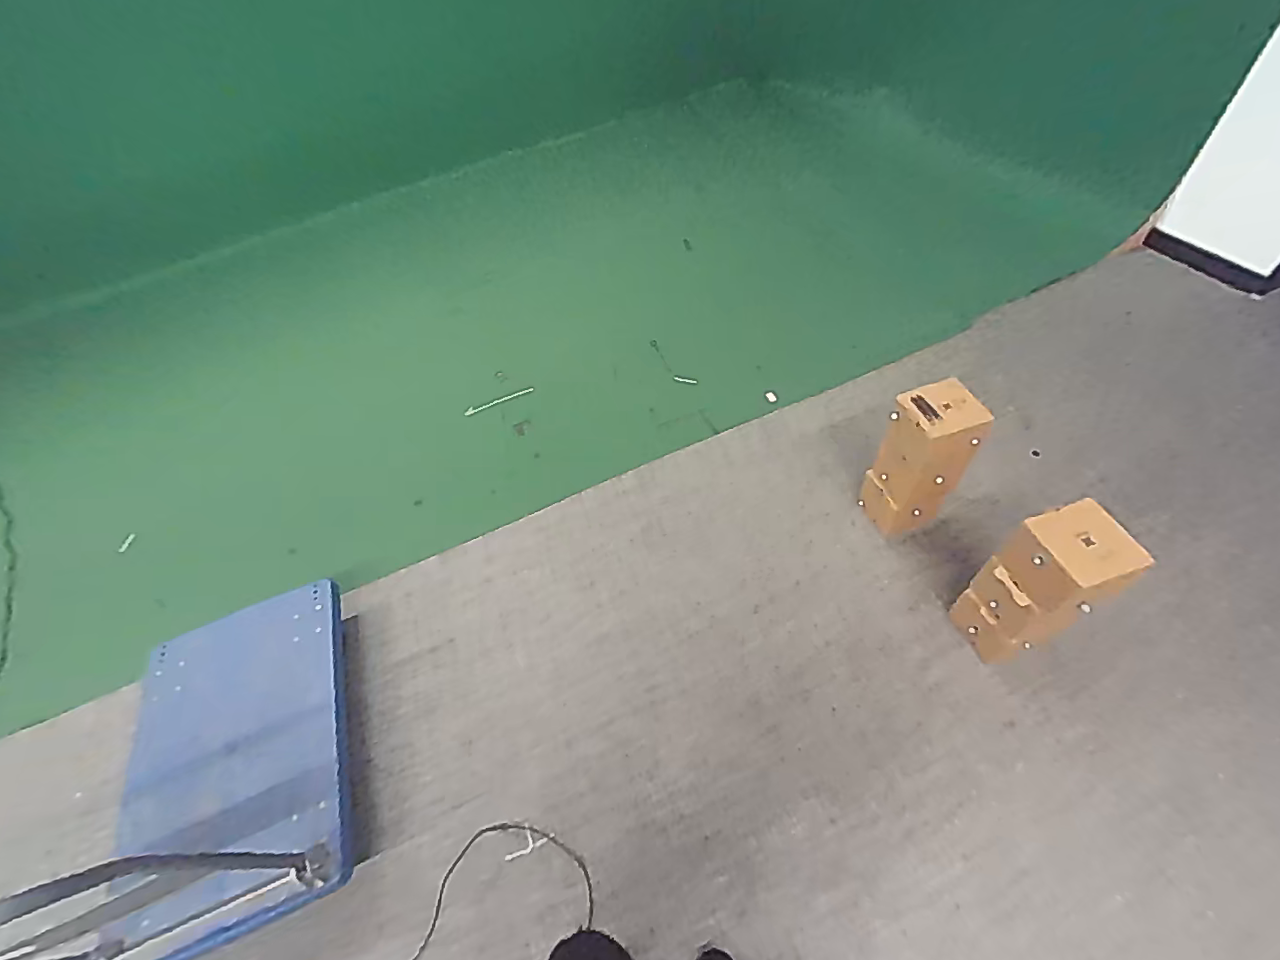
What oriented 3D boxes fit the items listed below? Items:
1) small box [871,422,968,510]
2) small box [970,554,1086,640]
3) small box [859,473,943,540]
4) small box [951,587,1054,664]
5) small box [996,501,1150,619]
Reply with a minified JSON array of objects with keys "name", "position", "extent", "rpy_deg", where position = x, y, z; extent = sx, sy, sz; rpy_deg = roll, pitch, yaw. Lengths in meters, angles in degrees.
[{"name":"small box","position":[0.815,-0.039,1.597],"extent":[0.179,0.176,0.168],"rpy_deg":[-19,53,-3]},{"name":"small box","position":[0.964,0.271,1.335],"extent":[0.179,0.176,0.168],"rpy_deg":[-17,52,-3]},{"name":"small box","position":[0.826,0.069,1.740],"extent":[0.179,0.176,0.168],"rpy_deg":[-18,54,-4]},{"name":"small box","position":[0.979,0.372,1.465],"extent":[0.179,0.176,0.168],"rpy_deg":[-21,53,-5]},{"name":"small box","position":[0.943,0.180,1.202],"extent":[0.168,0.176,0.179],"rpy_deg":[-18,53,-3]}]
